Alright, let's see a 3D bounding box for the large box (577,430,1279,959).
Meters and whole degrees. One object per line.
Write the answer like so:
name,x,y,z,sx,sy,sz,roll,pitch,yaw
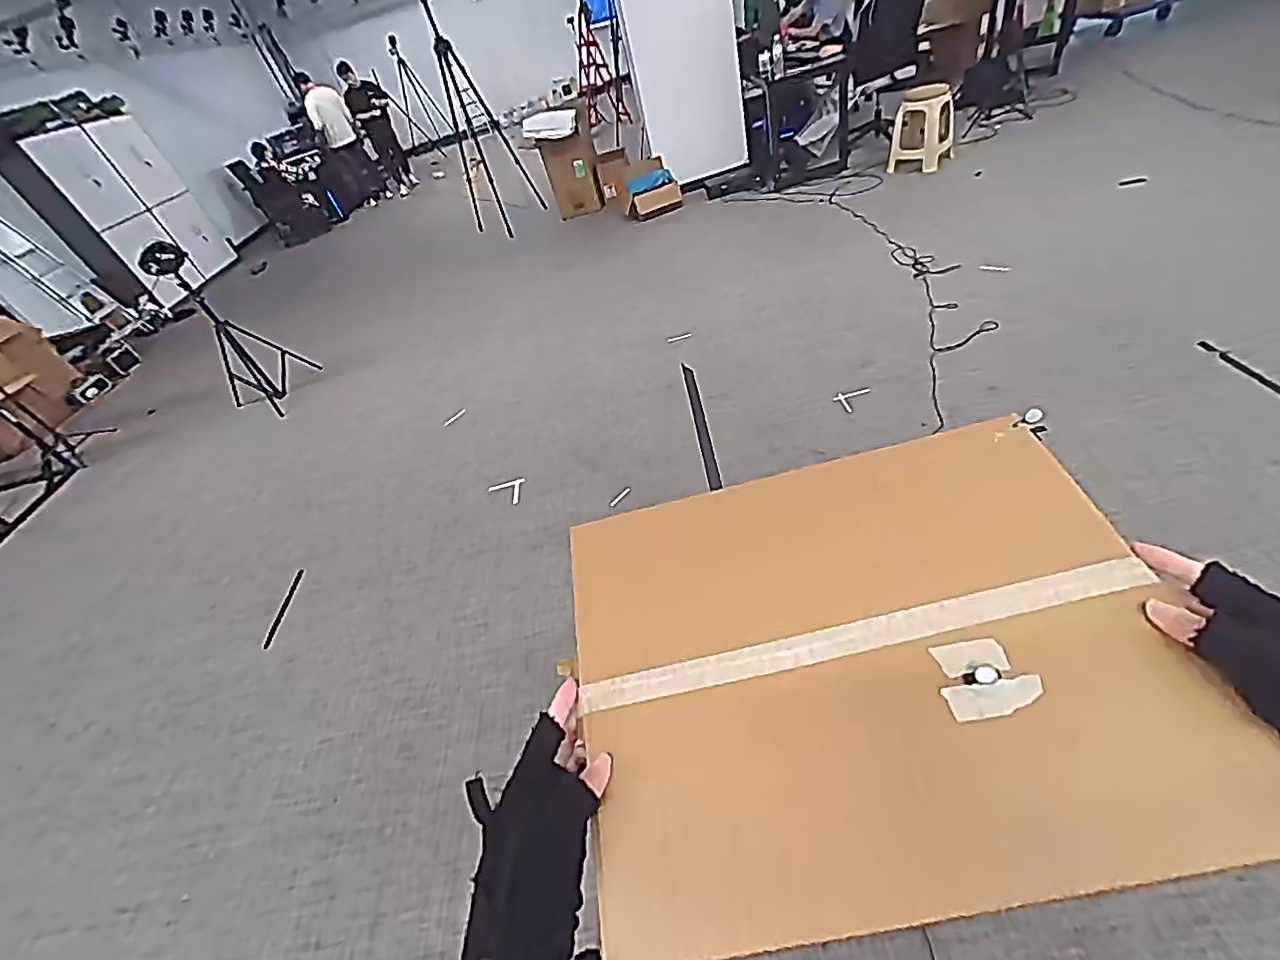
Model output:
large box,0.184,0.210,0.515,0.408,0.320,0.320,-15,52,4
